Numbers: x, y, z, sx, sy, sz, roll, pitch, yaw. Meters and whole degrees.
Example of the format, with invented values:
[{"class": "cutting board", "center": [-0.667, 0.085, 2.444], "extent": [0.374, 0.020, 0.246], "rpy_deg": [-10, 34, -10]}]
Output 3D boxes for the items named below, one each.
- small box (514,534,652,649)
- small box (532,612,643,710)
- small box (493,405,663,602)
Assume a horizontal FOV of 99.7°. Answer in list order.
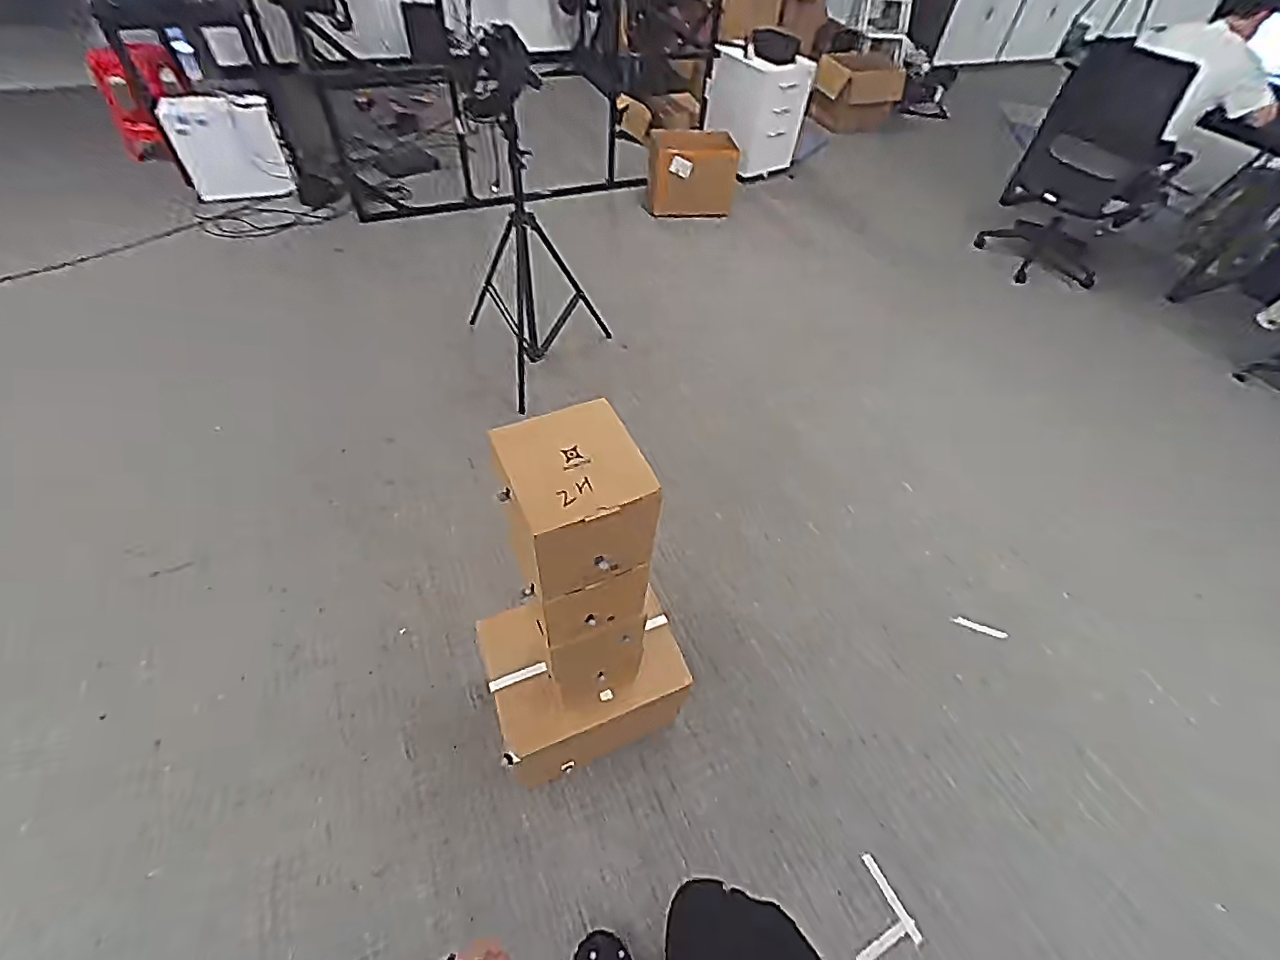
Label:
[{"class": "small box", "center": [-0.097, 0.137, 0.858], "extent": [0.168, 0.176, 0.179], "rpy_deg": [-18, 56, -19]}, {"class": "small box", "center": [-0.109, 0.345, 1.110], "extent": [0.179, 0.176, 0.168], "rpy_deg": [-18, 56, -20]}, {"class": "small box", "center": [-0.087, 0.033, 0.731], "extent": [0.168, 0.176, 0.179], "rpy_deg": [-20, 57, -19]}]
